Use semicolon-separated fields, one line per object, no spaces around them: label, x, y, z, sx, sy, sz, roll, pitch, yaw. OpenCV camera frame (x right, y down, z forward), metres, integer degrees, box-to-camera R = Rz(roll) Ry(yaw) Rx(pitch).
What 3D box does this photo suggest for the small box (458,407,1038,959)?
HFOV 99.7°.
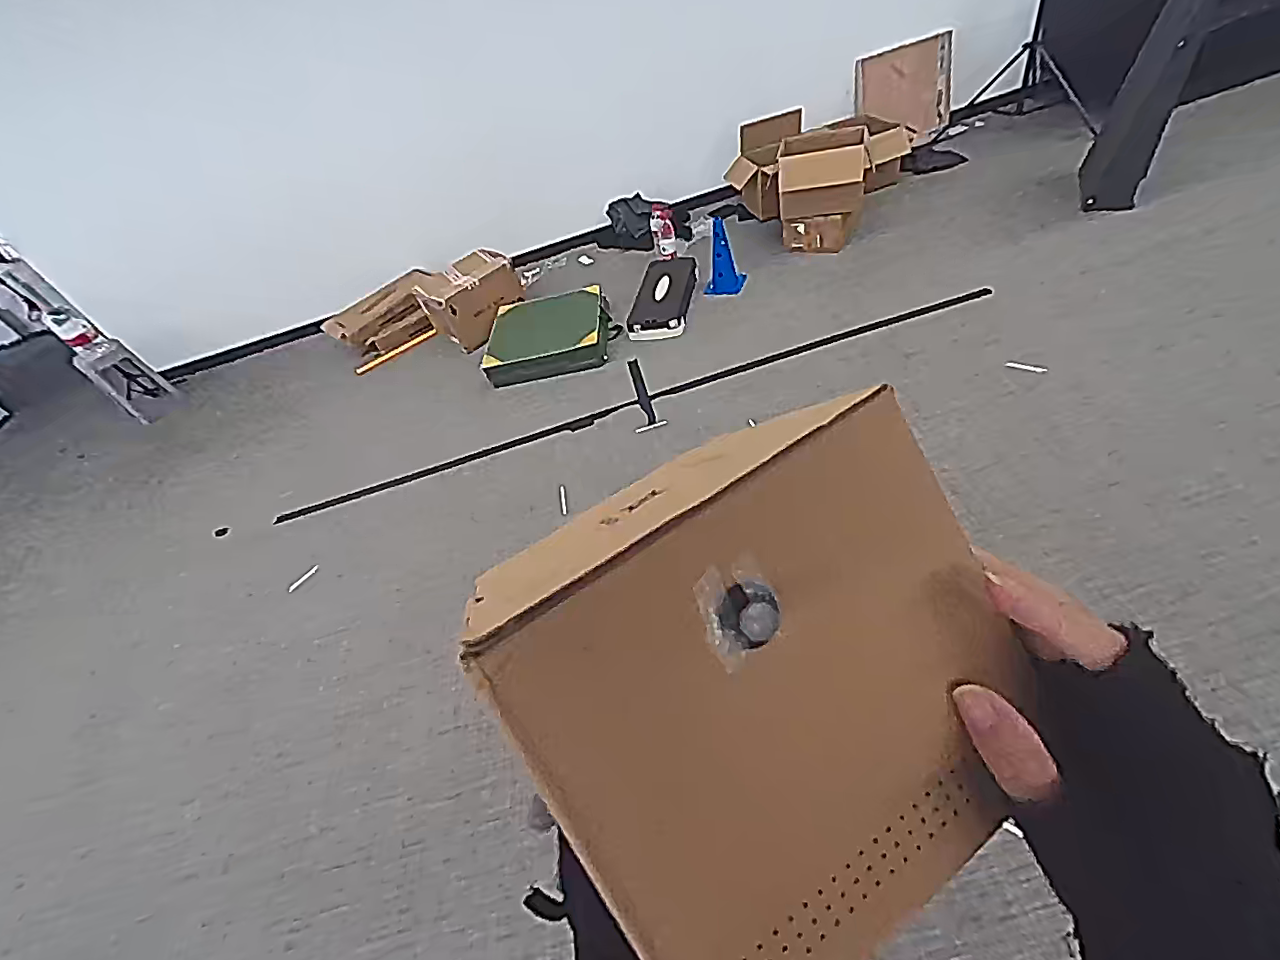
small box;0.039;0.090;0.263;0.179;0.176;0.168;-30;5;-14
